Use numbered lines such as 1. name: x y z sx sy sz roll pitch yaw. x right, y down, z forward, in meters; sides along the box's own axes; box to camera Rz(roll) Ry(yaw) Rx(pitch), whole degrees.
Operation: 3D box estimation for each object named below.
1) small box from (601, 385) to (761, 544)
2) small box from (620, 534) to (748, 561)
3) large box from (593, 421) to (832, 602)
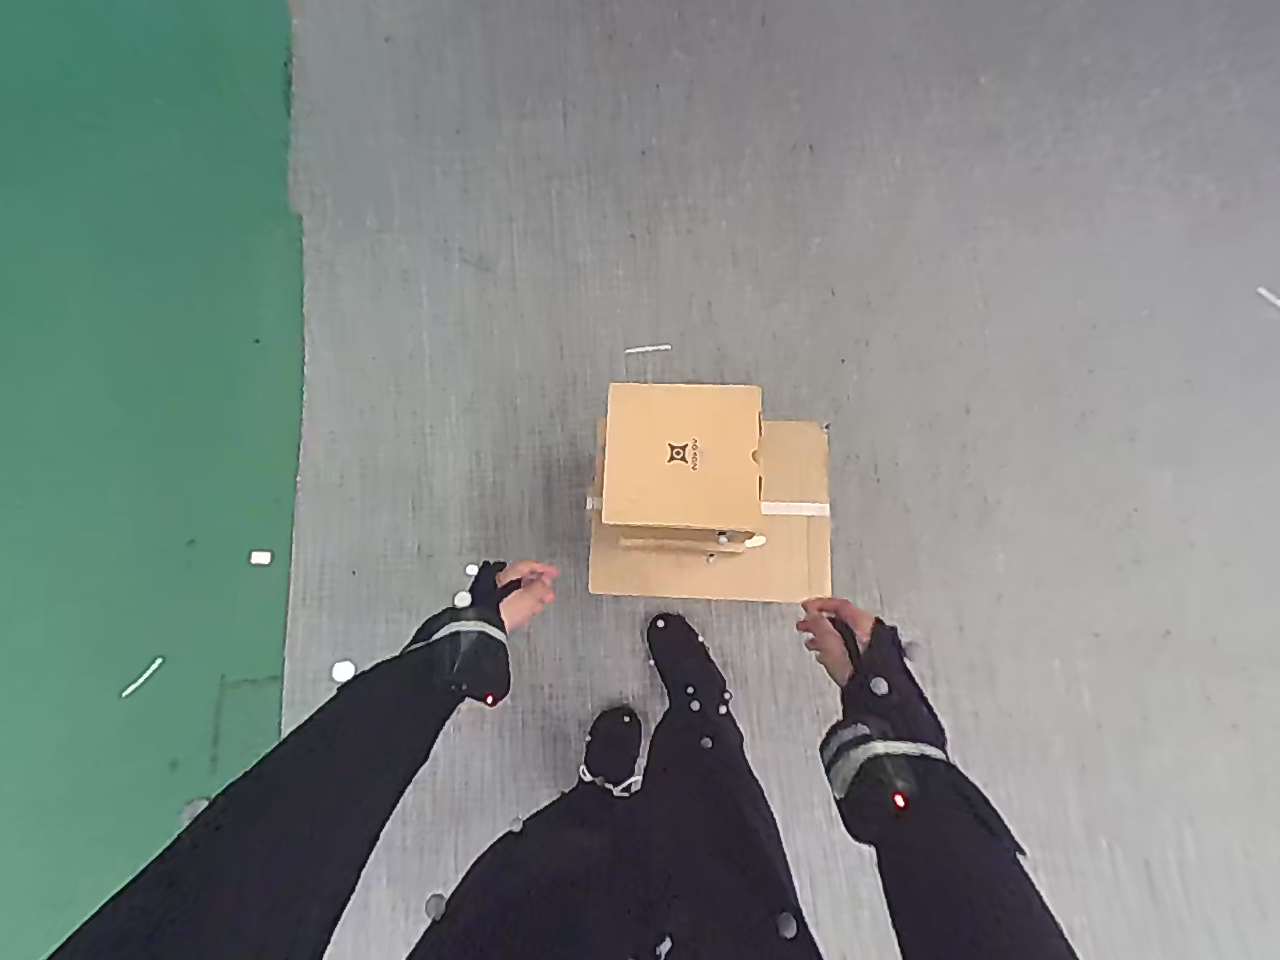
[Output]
1. small box: 0.052 -0.010 0.677 0.179 0.176 0.168 2 78 3
2. small box: 0.069 0.035 0.833 0.179 0.176 0.168 2 78 5
3. large box: 0.126 0.075 1.069 0.408 0.320 0.320 1 81 3
